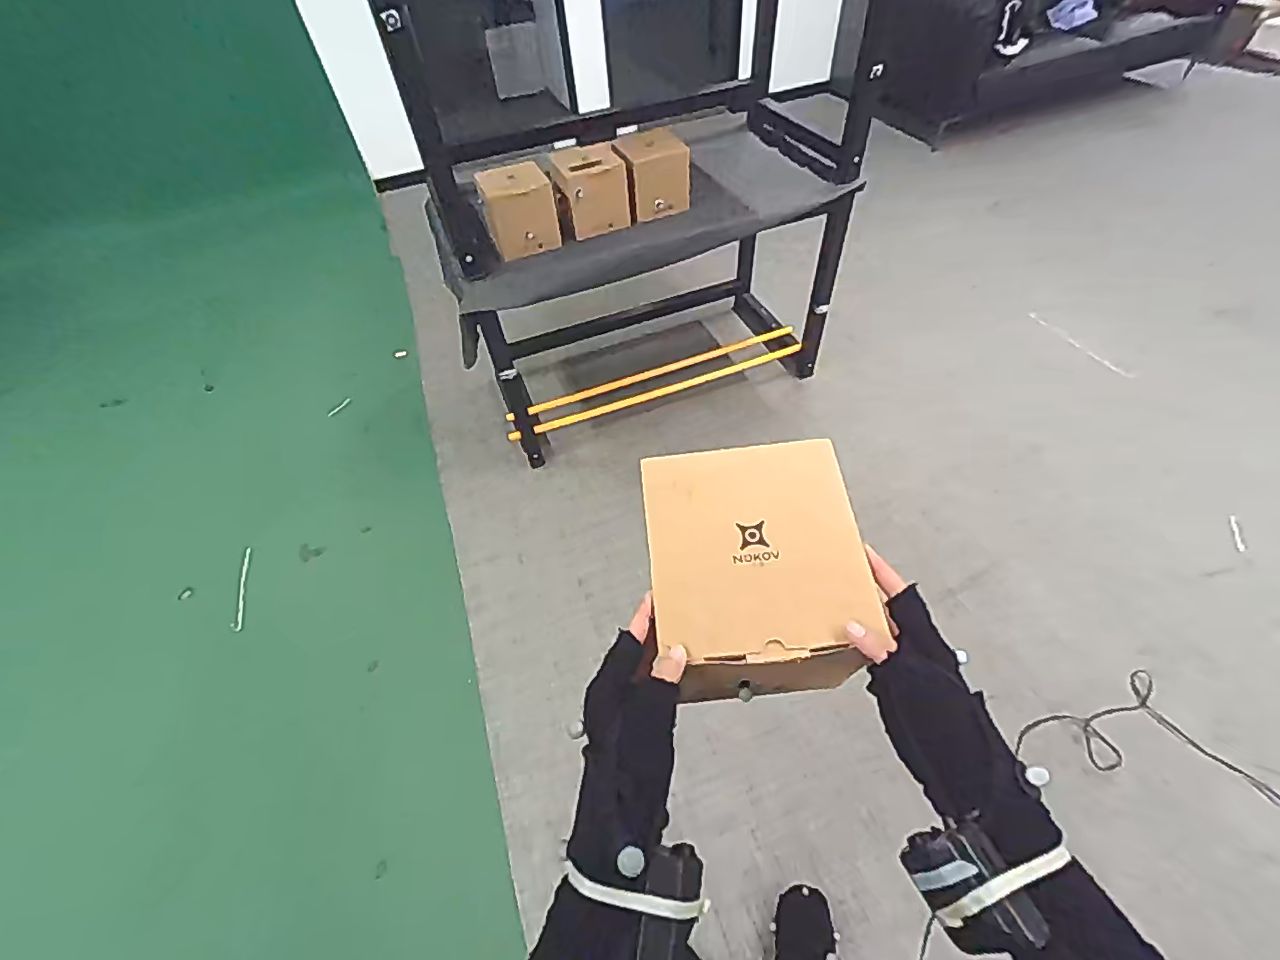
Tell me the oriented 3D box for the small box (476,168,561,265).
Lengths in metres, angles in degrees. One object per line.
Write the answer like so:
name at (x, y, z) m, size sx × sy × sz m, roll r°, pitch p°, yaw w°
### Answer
small box at (-0.325, -0.710, 1.459) m, size 0.168 × 0.176 × 0.179 m, roll -20°, pitch 52°, yaw -12°
